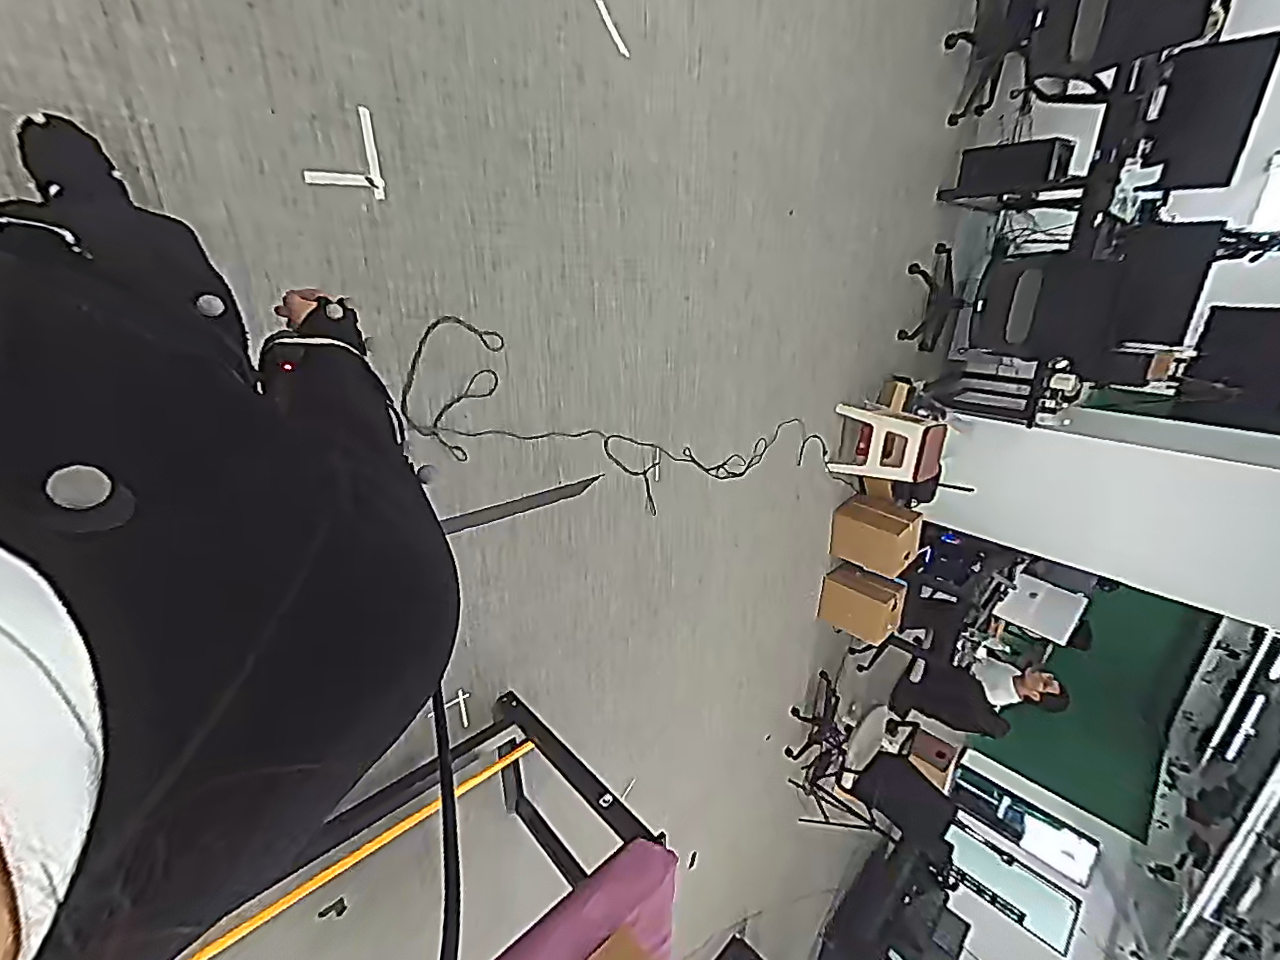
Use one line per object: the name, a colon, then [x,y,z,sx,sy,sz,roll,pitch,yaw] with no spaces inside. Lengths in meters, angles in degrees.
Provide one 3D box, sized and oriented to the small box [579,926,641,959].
small box: [-0.071,1.217,1.261,0.179,0.176,0.168,-20,120,-37]
